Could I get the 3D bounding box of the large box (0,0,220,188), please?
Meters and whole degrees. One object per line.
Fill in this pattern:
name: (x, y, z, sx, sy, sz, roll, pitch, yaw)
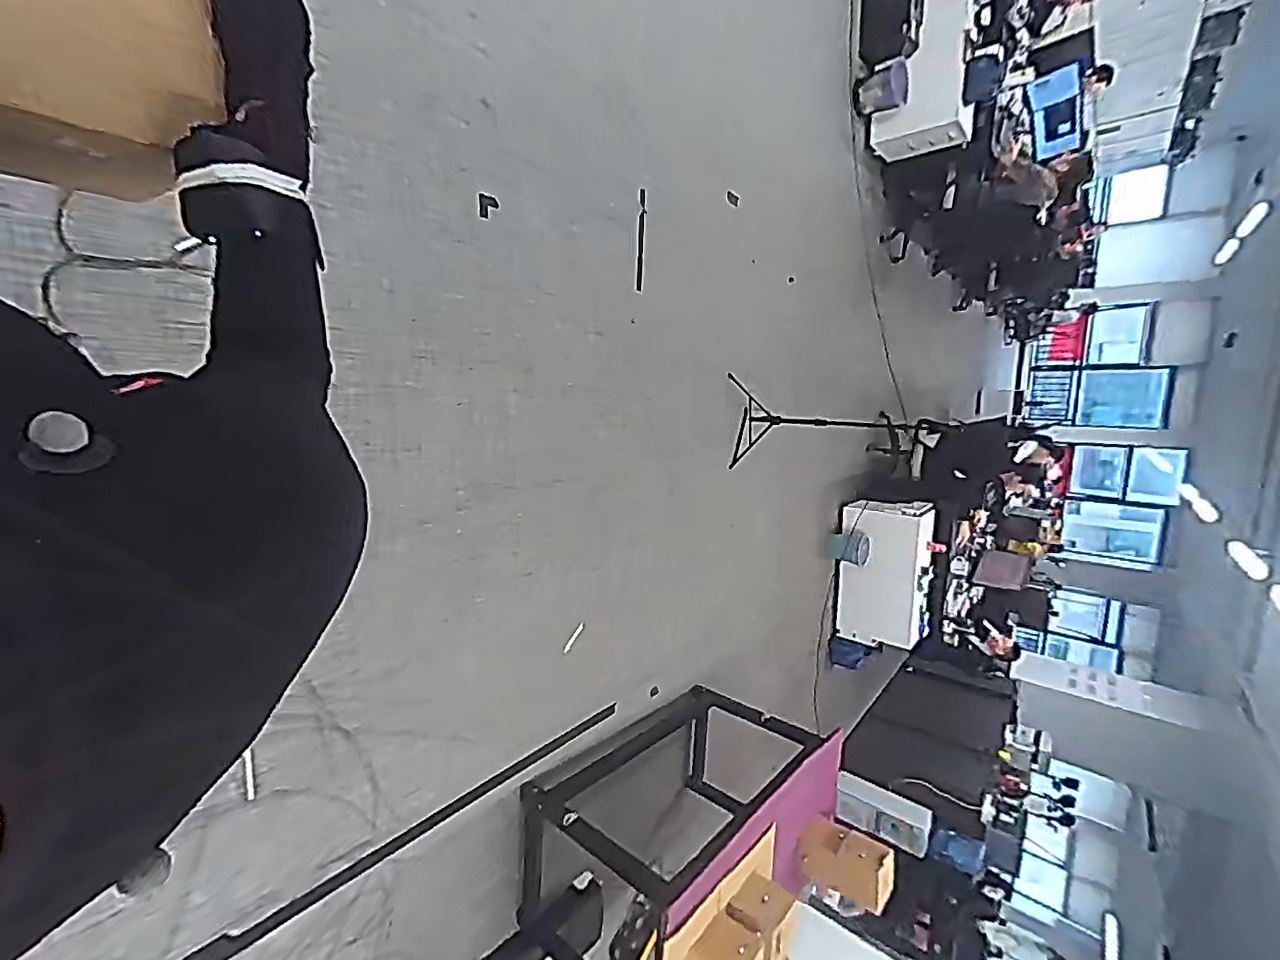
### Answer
large box: (-0.546, -0.407, 0.316, 0.408, 0.320, 0.320, -9, 111, -51)
